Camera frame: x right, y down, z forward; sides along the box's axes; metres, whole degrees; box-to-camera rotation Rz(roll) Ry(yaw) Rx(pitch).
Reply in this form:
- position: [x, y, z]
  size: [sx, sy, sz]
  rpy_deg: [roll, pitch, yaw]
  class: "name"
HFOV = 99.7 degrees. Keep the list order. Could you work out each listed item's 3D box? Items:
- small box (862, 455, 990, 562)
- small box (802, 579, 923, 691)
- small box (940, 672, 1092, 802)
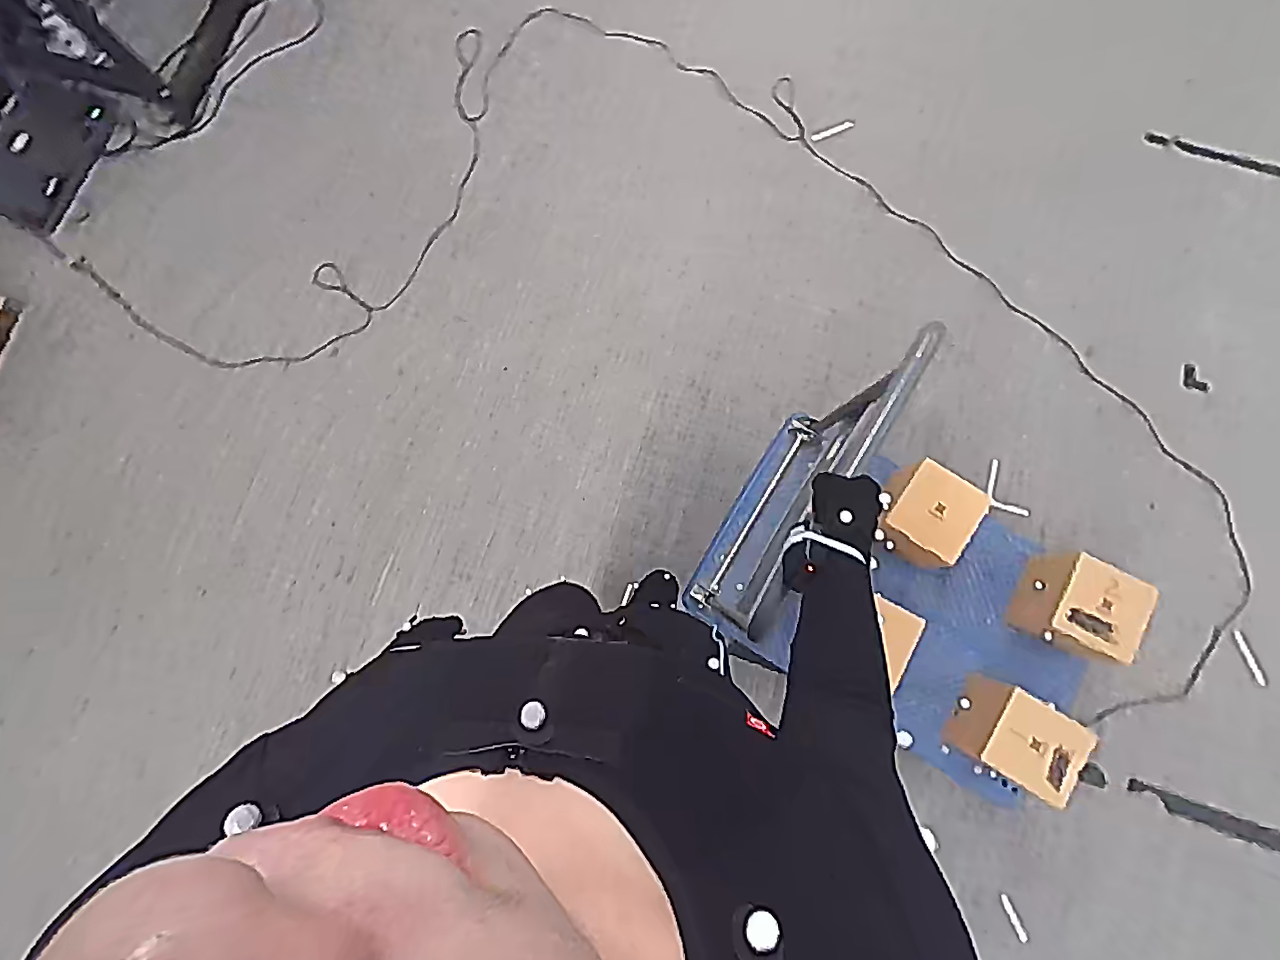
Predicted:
- position: [0.642, 0.070, 1.241]
  size: [0.168, 0.176, 0.179]
  rpy_deg: [34, 84, 7]
  class: "small box"
- position: [0.483, 0.333, 1.203]
  size: [0.168, 0.176, 0.179]
  rpy_deg: [29, 83, 7]
  class: "small box"
- position: [0.792, 0.535, 1.158]
  size: [0.179, 0.176, 0.168]
  rpy_deg: [32, 83, 8]
  class: "small box"
